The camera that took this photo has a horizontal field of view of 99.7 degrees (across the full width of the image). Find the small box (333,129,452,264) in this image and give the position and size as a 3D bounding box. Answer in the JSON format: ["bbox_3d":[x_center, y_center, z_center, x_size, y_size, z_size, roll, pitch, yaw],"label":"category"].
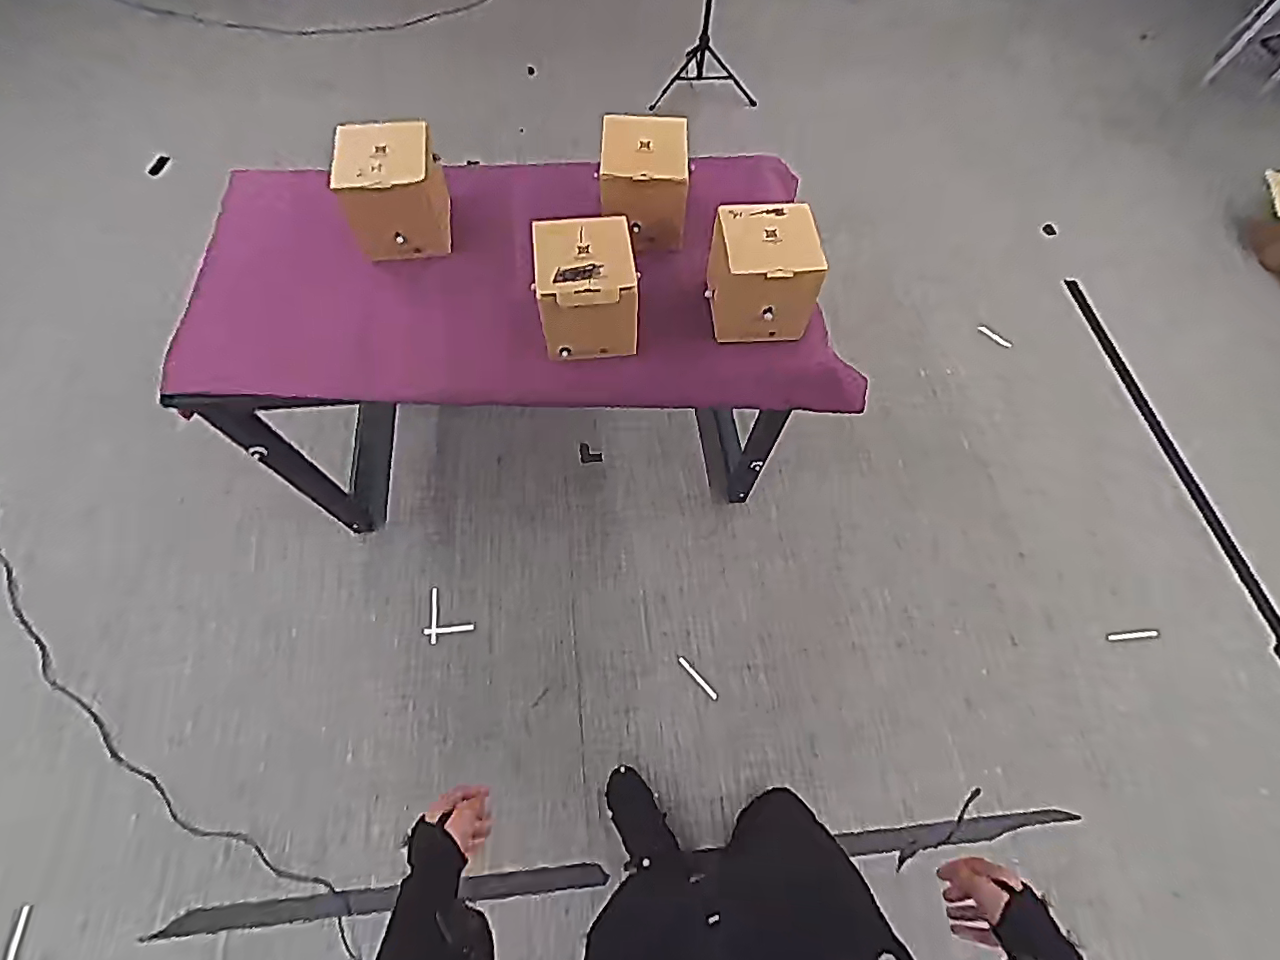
[{"bbox_3d":[-0.481,-0.560,1.076,0.168,0.176,0.179,-7,66,-5],"label":"small box"}]

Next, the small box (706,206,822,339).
[{"bbox_3d":[0.221,-0.378,1.007,0.168,0.176,0.179,-2,63,-2],"label":"small box"}]

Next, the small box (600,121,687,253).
[{"bbox_3d":[0.005,-0.597,1.110,0.168,0.176,0.179,1,66,-1],"label":"small box"}]

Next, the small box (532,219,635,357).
[{"bbox_3d":[-0.098,-0.338,0.981,0.168,0.176,0.179,-6,64,-4],"label":"small box"}]
